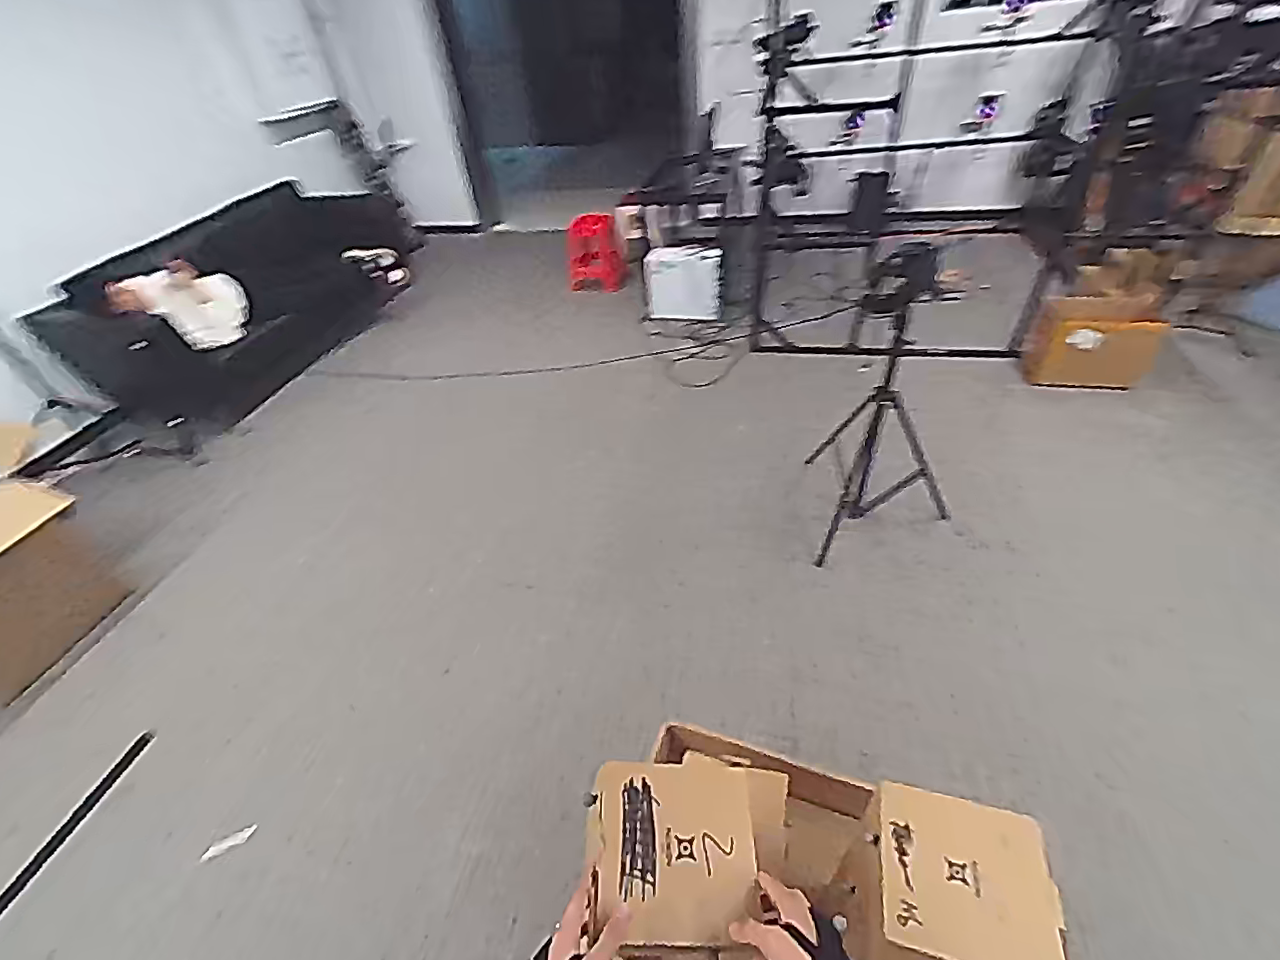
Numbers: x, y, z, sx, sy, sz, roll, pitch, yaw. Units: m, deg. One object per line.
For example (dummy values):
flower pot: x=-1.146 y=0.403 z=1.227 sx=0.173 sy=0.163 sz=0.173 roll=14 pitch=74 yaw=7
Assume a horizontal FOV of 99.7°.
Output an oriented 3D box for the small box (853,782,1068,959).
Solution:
small box: x=0.367 y=0.501 z=0.648 sx=0.179 sy=0.176 sz=0.168 roll=9 pitch=42 yaw=16

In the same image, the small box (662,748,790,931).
small box: x=0.139 y=0.564 z=0.852 sx=0.168 sy=0.176 sz=0.179 roll=6 pitch=42 yaw=17

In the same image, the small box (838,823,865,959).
small box: x=0.377 y=0.627 z=0.753 sx=0.168 sy=0.176 sz=0.179 roll=10 pitch=43 yaw=18
